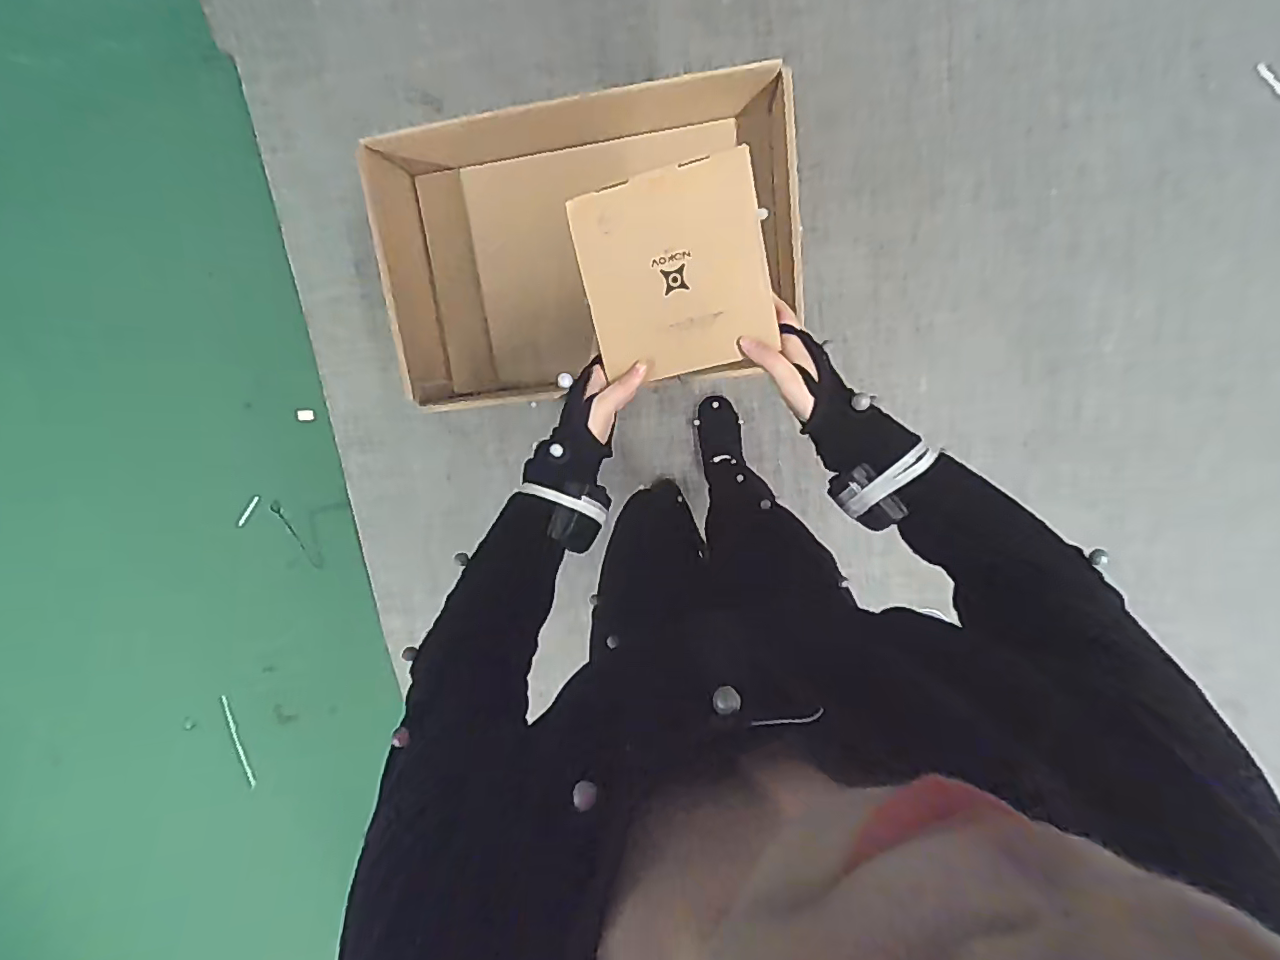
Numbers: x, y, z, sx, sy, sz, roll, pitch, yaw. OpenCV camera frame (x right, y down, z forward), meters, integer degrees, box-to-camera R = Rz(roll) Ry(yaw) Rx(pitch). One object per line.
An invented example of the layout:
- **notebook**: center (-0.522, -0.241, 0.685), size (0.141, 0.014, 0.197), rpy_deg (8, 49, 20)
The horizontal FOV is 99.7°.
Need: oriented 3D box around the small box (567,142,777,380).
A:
- **small box**: center (0.040, -0.209, 0.563), size (0.168, 0.176, 0.179), rpy_deg (-10, 102, 11)
